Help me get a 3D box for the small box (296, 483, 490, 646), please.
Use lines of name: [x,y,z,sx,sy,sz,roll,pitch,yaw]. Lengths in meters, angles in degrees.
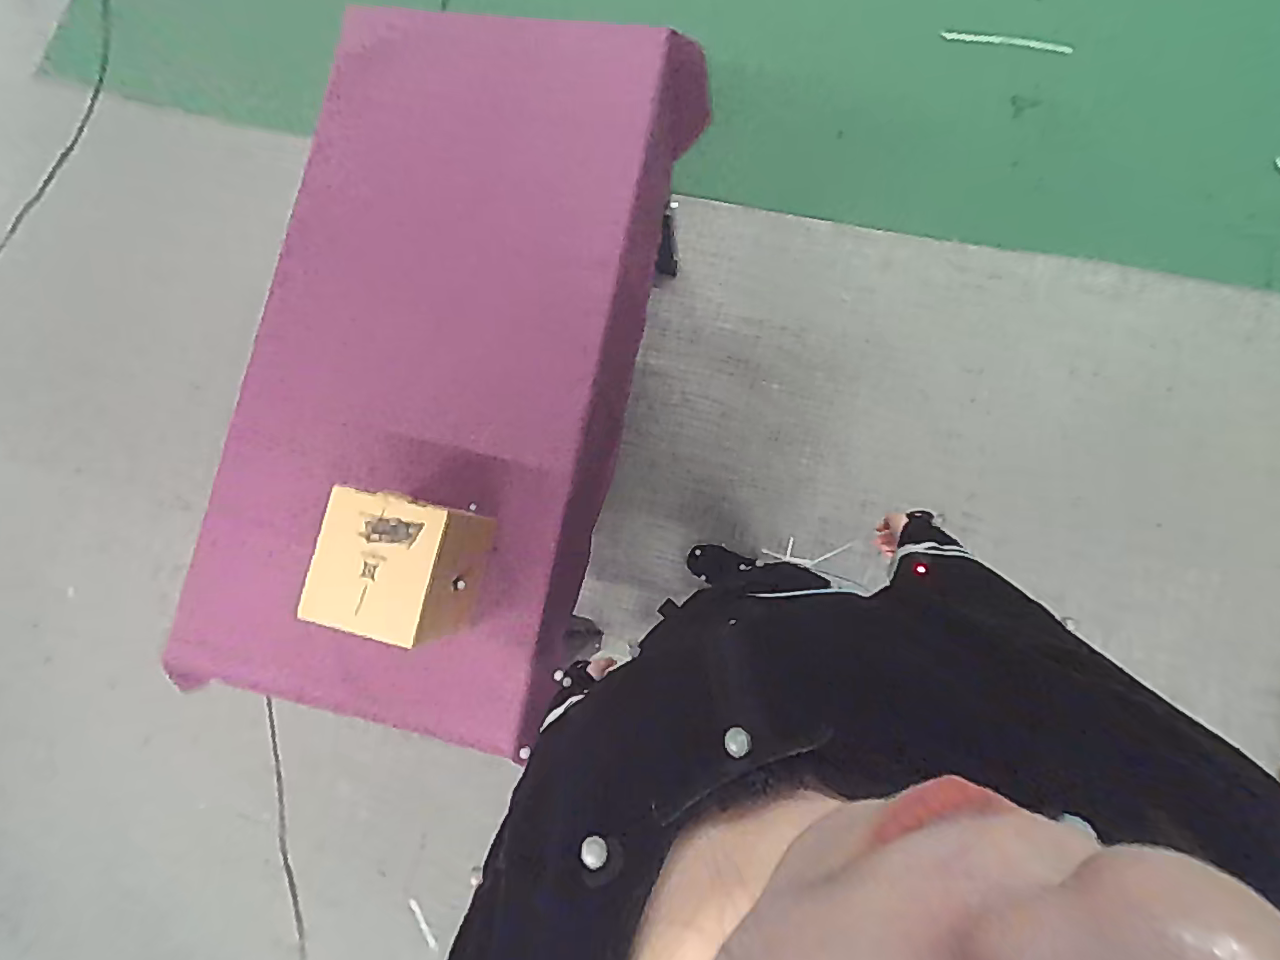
small box: [-0.329,0.113,0.760,0.168,0.176,0.179,12,85,9]
